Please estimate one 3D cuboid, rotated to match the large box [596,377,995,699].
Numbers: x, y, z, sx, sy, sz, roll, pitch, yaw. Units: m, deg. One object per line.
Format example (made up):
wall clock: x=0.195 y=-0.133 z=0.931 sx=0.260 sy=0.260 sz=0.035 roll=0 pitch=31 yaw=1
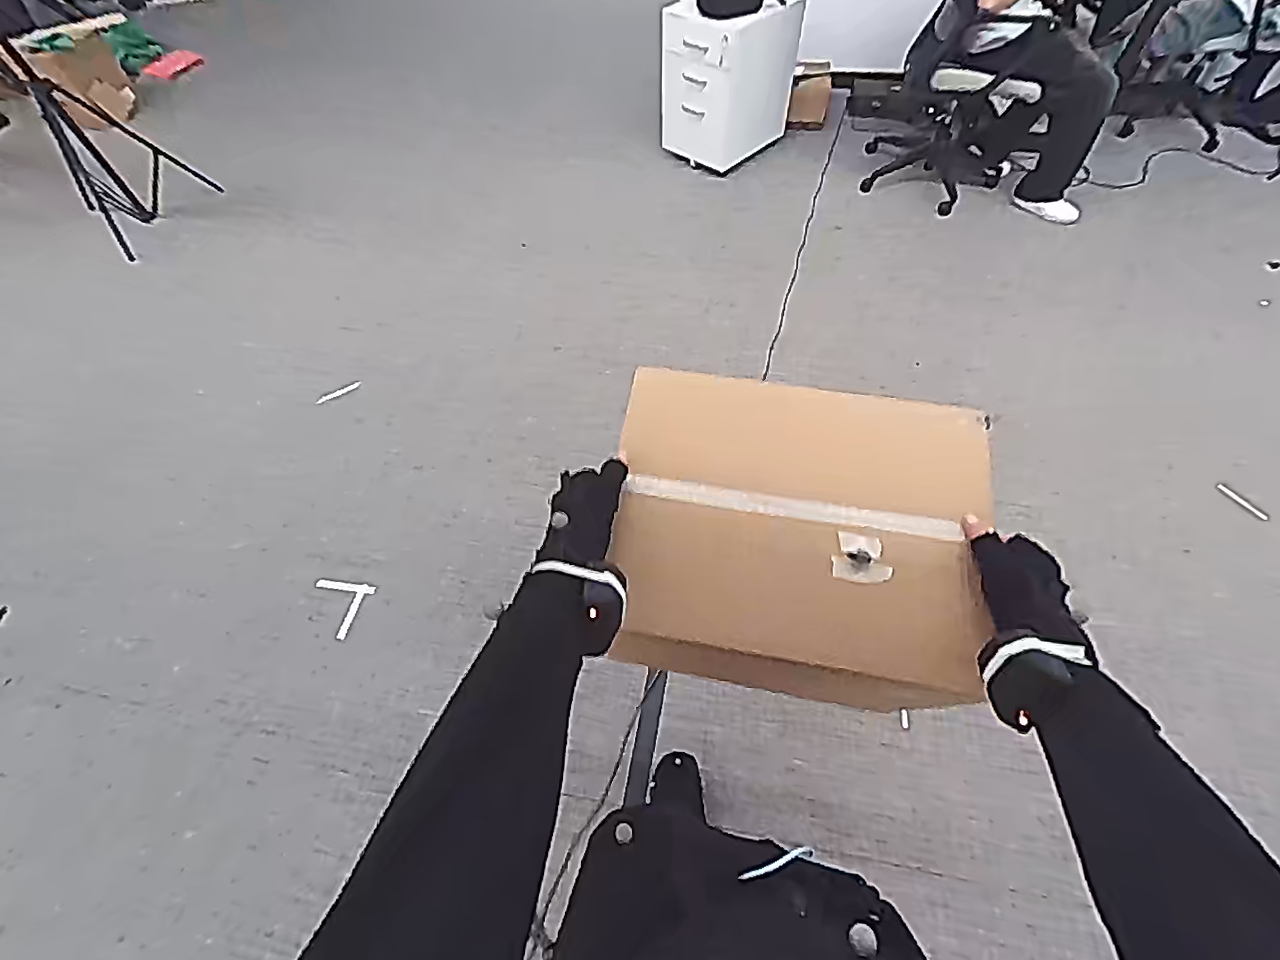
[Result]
large box: x=0.176 y=0.095 z=0.732 sx=0.408 sy=0.320 sz=0.320 roll=9 pitch=67 yaw=6
